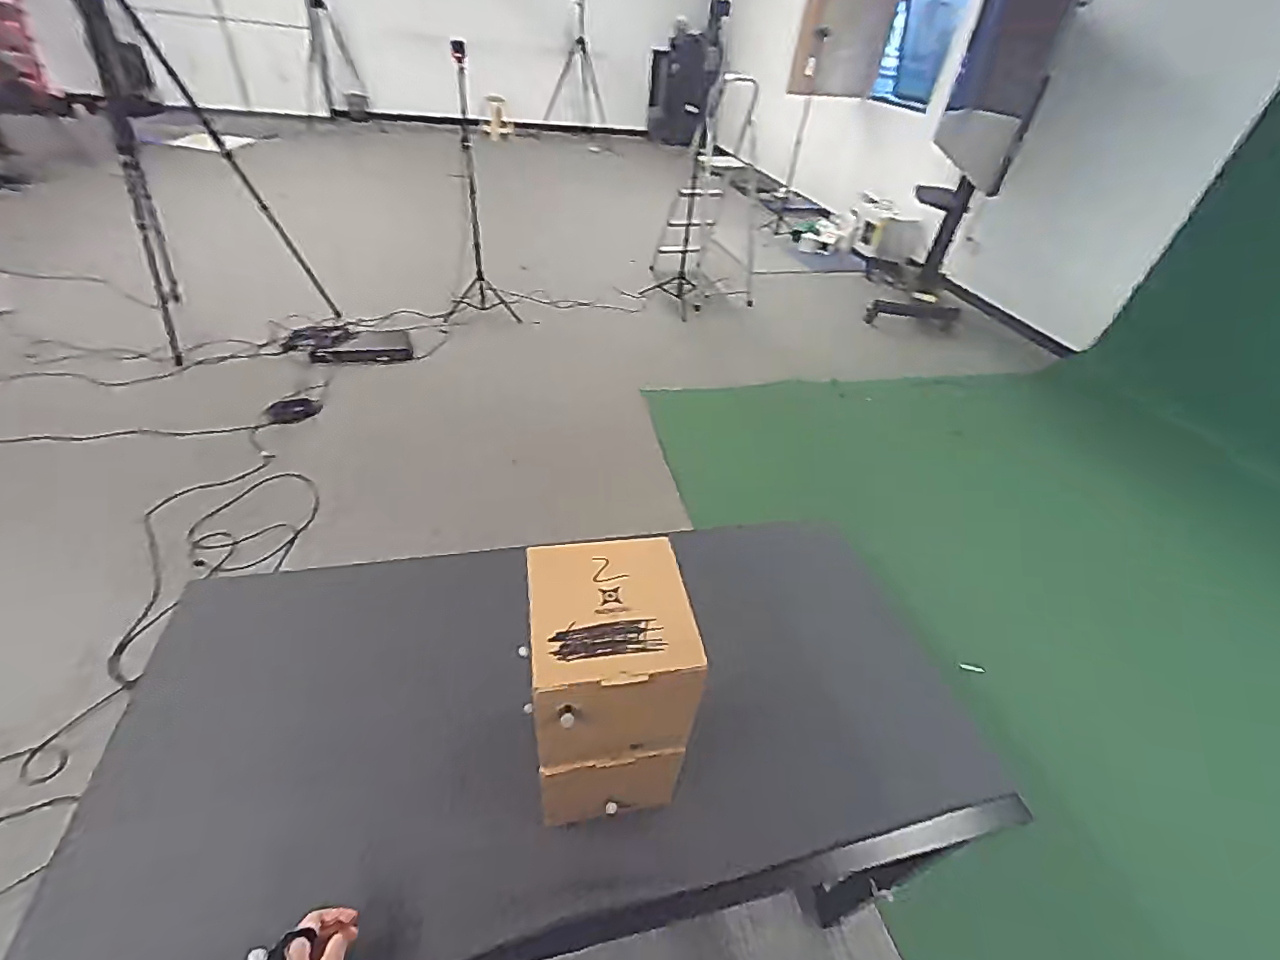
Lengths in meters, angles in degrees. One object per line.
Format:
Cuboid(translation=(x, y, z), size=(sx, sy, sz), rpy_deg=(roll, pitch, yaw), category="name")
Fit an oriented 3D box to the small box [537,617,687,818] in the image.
Cuboid(translation=(-0.048, 0.309, 0.713), size=(0.168, 0.176, 0.179), rpy_deg=(-4, 42, -12), category="small box")
